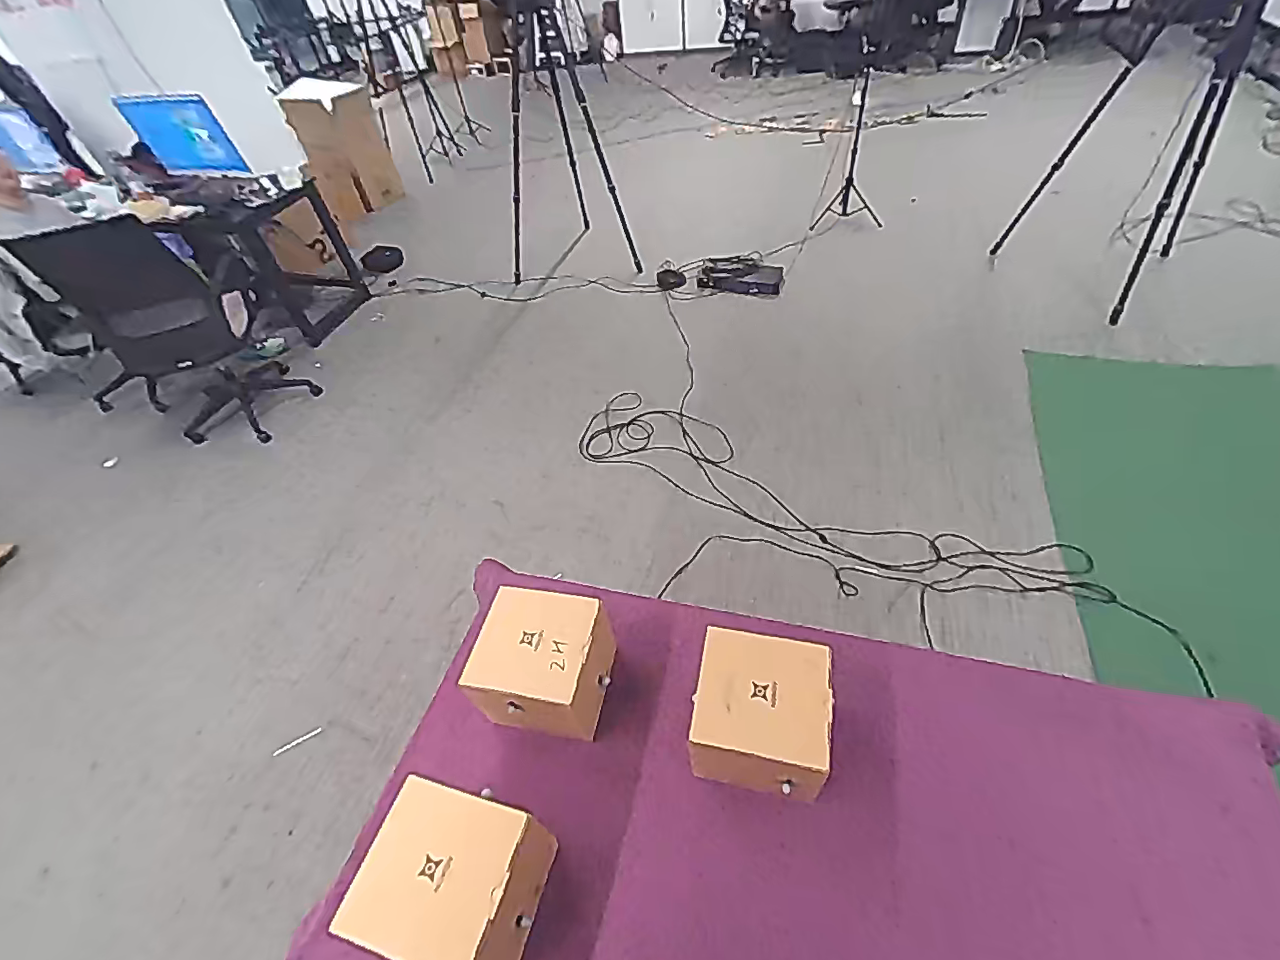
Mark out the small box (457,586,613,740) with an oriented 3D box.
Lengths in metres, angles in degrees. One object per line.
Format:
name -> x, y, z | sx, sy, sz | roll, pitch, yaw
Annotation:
small box -> -0.153, 0.292, 0.860 | 0.179, 0.176, 0.168 | 6, 49, 13

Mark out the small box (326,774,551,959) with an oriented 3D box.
small box -> -0.233, 0.502, 0.676 | 0.179, 0.176, 0.168 | 9, 48, 15

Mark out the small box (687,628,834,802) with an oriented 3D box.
small box -> 0.172, 0.339, 0.776 | 0.179, 0.176, 0.168 | 7, 48, 15
